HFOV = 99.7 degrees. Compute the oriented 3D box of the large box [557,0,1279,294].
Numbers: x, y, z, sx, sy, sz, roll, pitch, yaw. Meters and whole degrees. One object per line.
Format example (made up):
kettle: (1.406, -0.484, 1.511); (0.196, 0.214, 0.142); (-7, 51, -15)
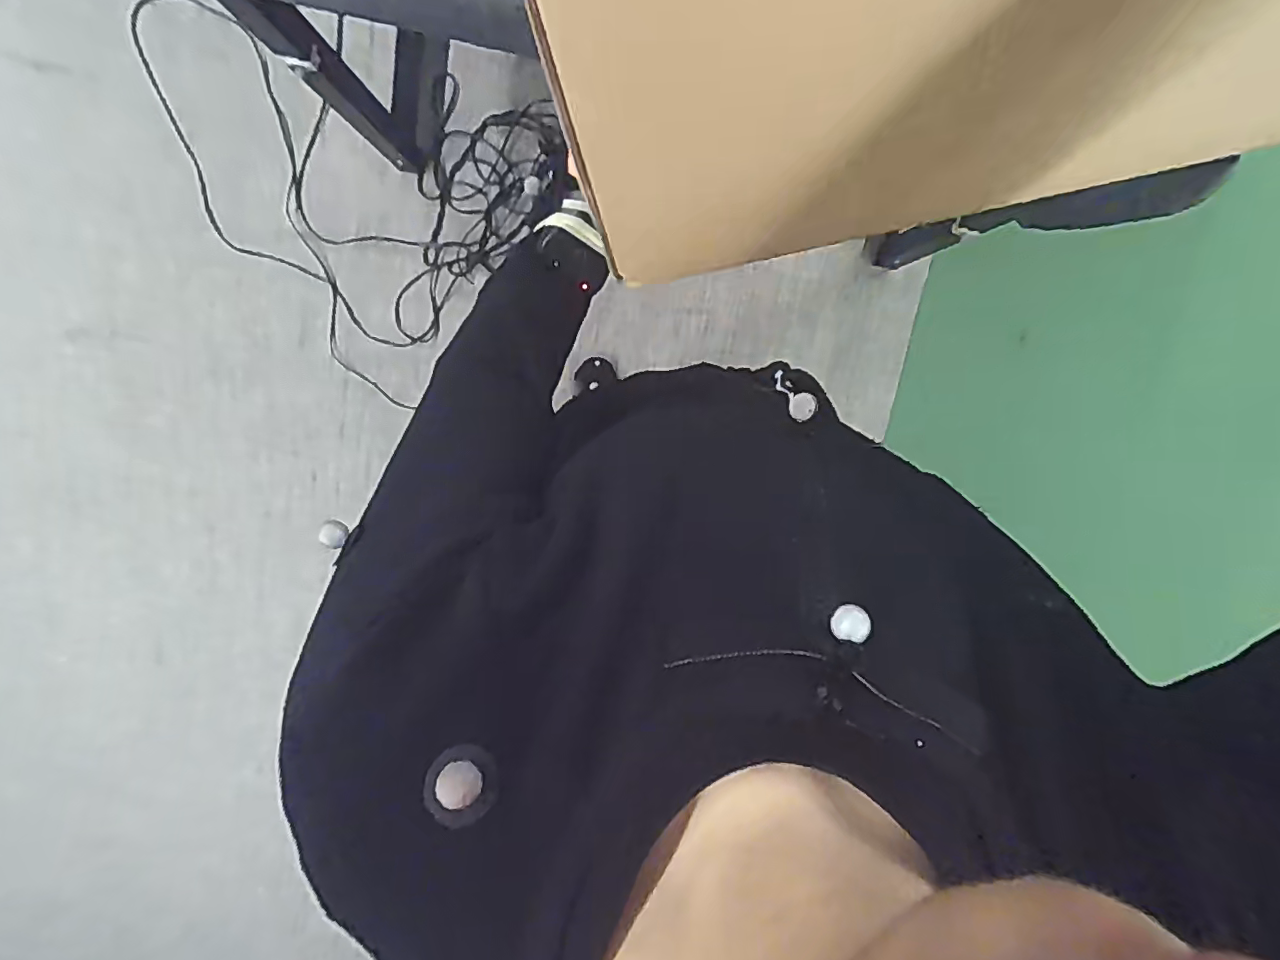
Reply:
large box: (0.147, -0.356, 0.272); (0.408, 0.320, 0.320); (-12, 145, 9)
